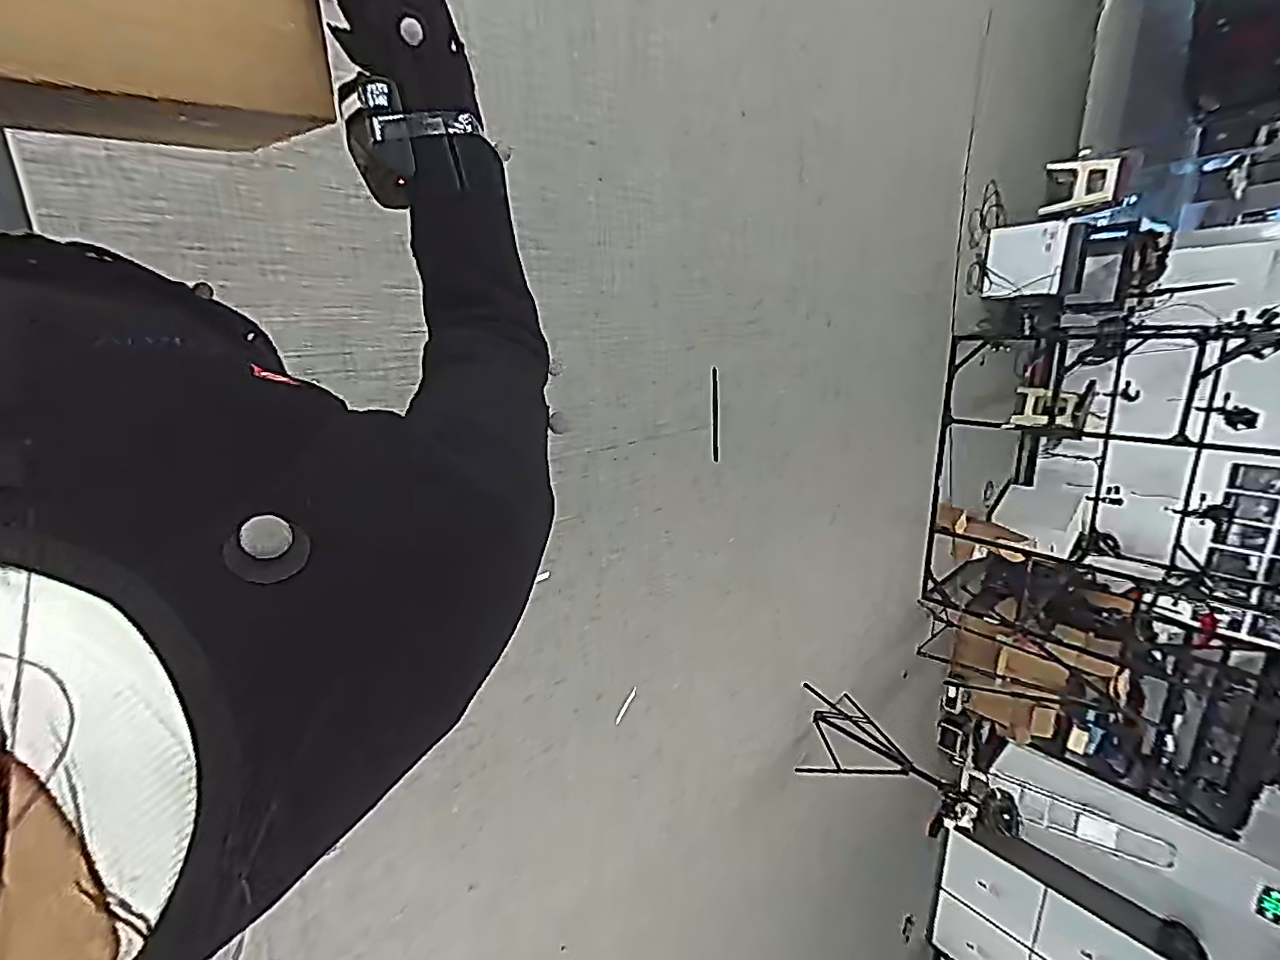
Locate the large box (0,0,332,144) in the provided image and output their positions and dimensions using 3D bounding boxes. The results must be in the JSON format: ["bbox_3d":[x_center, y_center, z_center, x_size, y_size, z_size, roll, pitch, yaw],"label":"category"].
[{"bbox_3d":[-0.453,-0.381,0.281,0.408,0.320,0.320,-20,125,-38],"label":"large box"}]
